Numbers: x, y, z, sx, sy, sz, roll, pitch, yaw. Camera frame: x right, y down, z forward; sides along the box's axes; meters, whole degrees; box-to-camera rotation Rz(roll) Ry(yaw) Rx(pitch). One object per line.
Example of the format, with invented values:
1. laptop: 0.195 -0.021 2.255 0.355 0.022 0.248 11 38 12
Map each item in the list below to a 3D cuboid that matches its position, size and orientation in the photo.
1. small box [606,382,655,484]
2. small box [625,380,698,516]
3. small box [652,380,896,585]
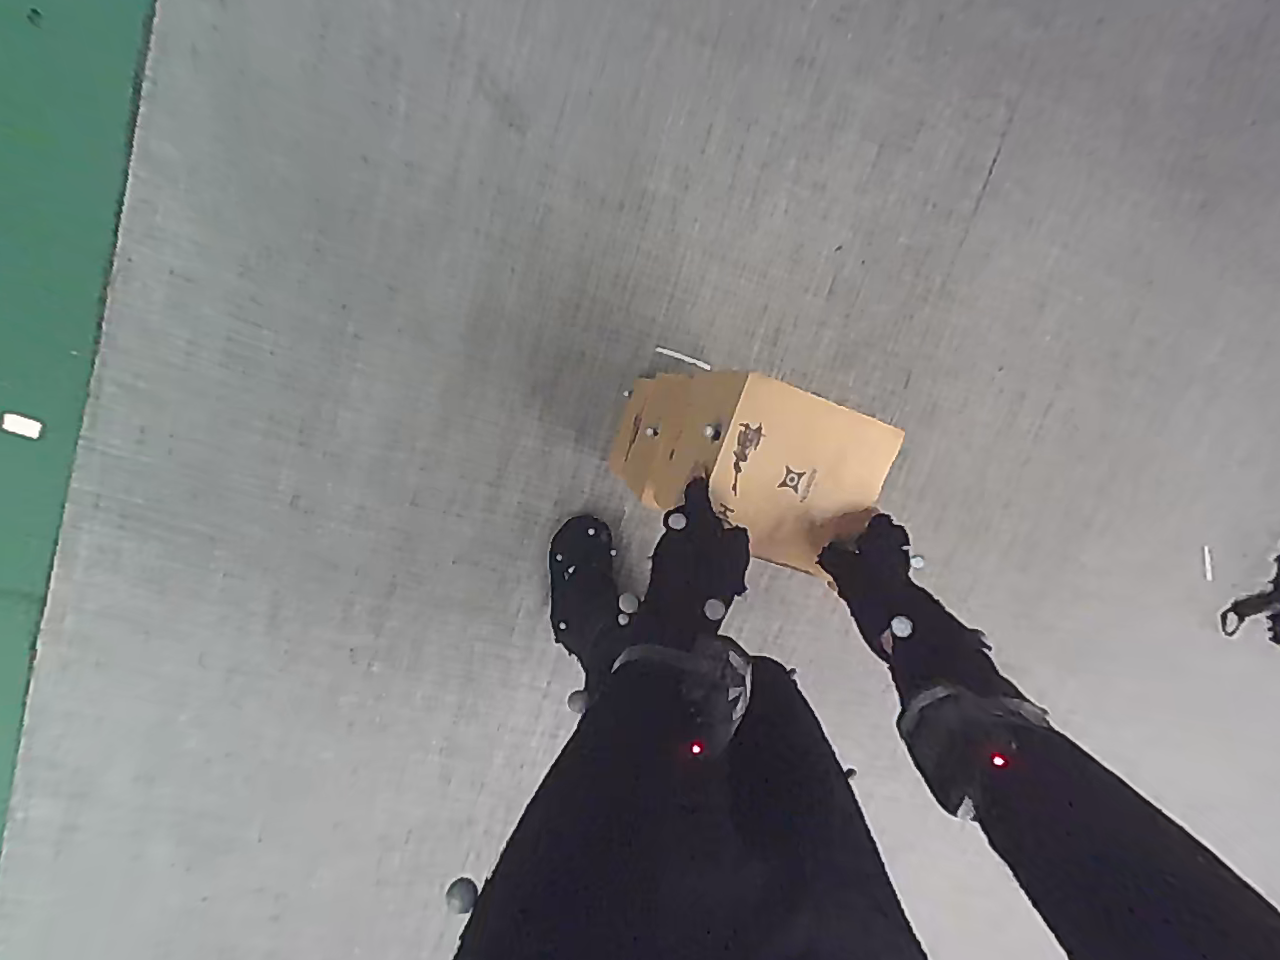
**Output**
1. small box: 0.049 -0.067 0.952 0.179 0.176 0.168 17 98 -14
2. small box: 0.085 -0.038 0.779 0.168 0.176 0.179 17 99 -12
3. small box: 0.132 -0.008 0.600 0.179 0.176 0.168 19 96 -14
